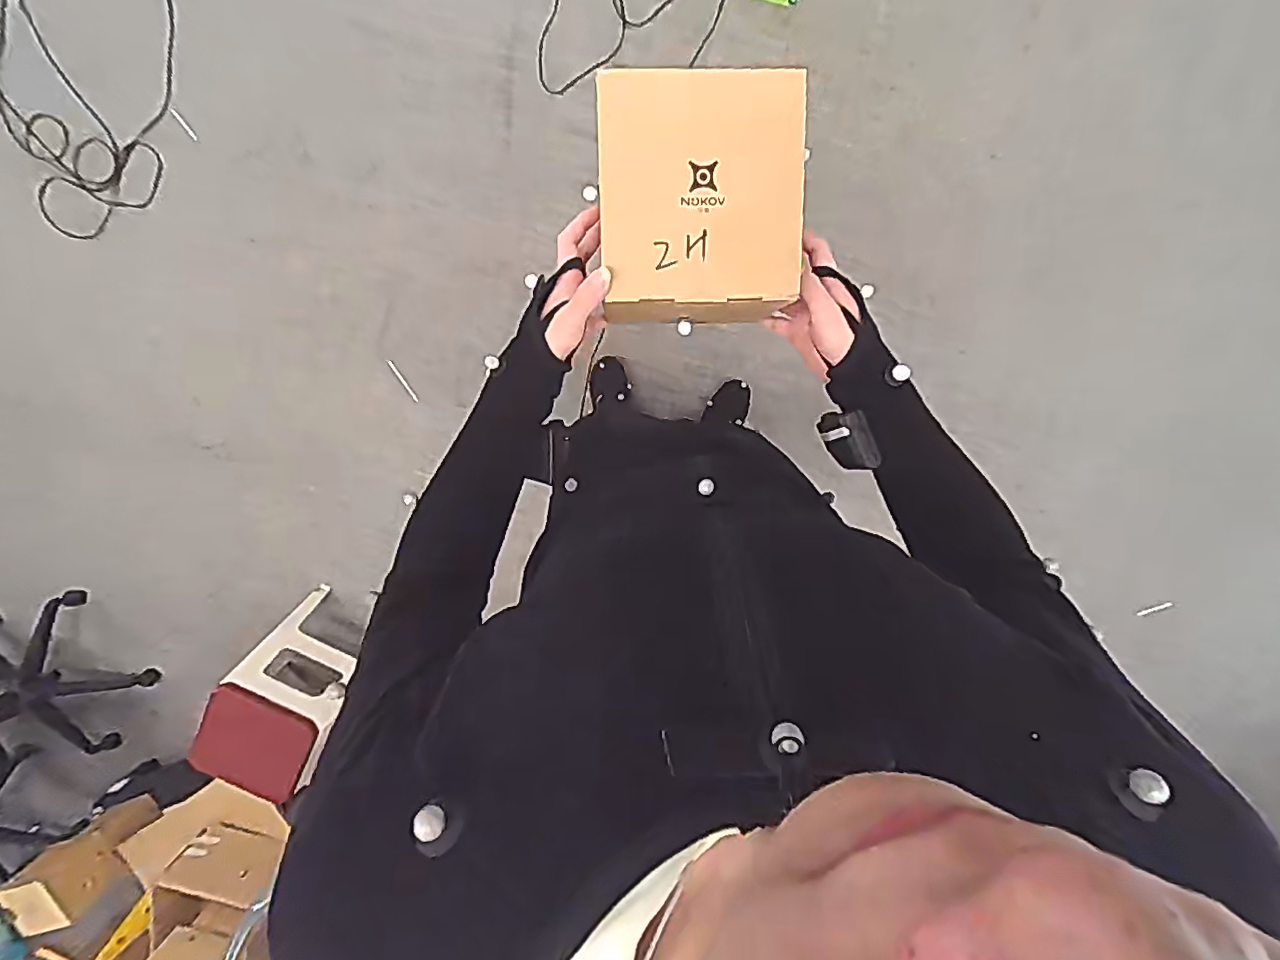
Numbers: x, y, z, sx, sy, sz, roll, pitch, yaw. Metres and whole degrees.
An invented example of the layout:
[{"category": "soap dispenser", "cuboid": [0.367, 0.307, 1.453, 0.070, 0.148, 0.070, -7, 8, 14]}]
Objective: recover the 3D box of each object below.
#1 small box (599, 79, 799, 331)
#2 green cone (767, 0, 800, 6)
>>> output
[{"category": "small box", "cuboid": [0.044, -0.245, 0.524, 0.168, 0.176, 0.179, 0, 100, -1]}, {"category": "green cone", "cuboid": [0.307, -1.242, 1.143, 0.202, 0.368, 0.200, 15, 104, 1]}]
